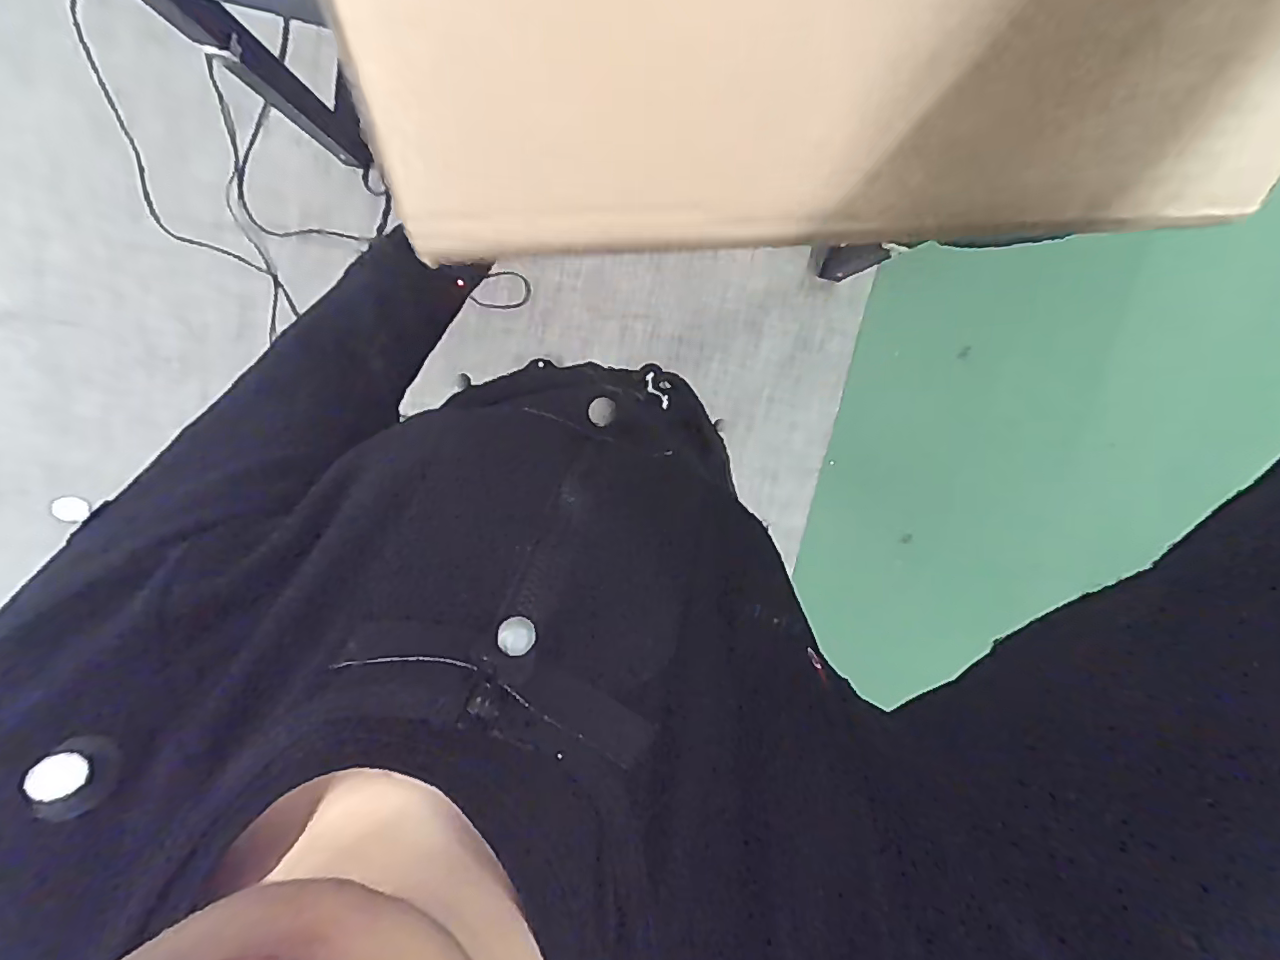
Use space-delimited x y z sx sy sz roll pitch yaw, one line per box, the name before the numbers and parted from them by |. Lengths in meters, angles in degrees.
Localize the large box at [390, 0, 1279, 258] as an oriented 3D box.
large box | 0.058 -0.343 0.247 0.320 0.408 0.320 -4 134 0
